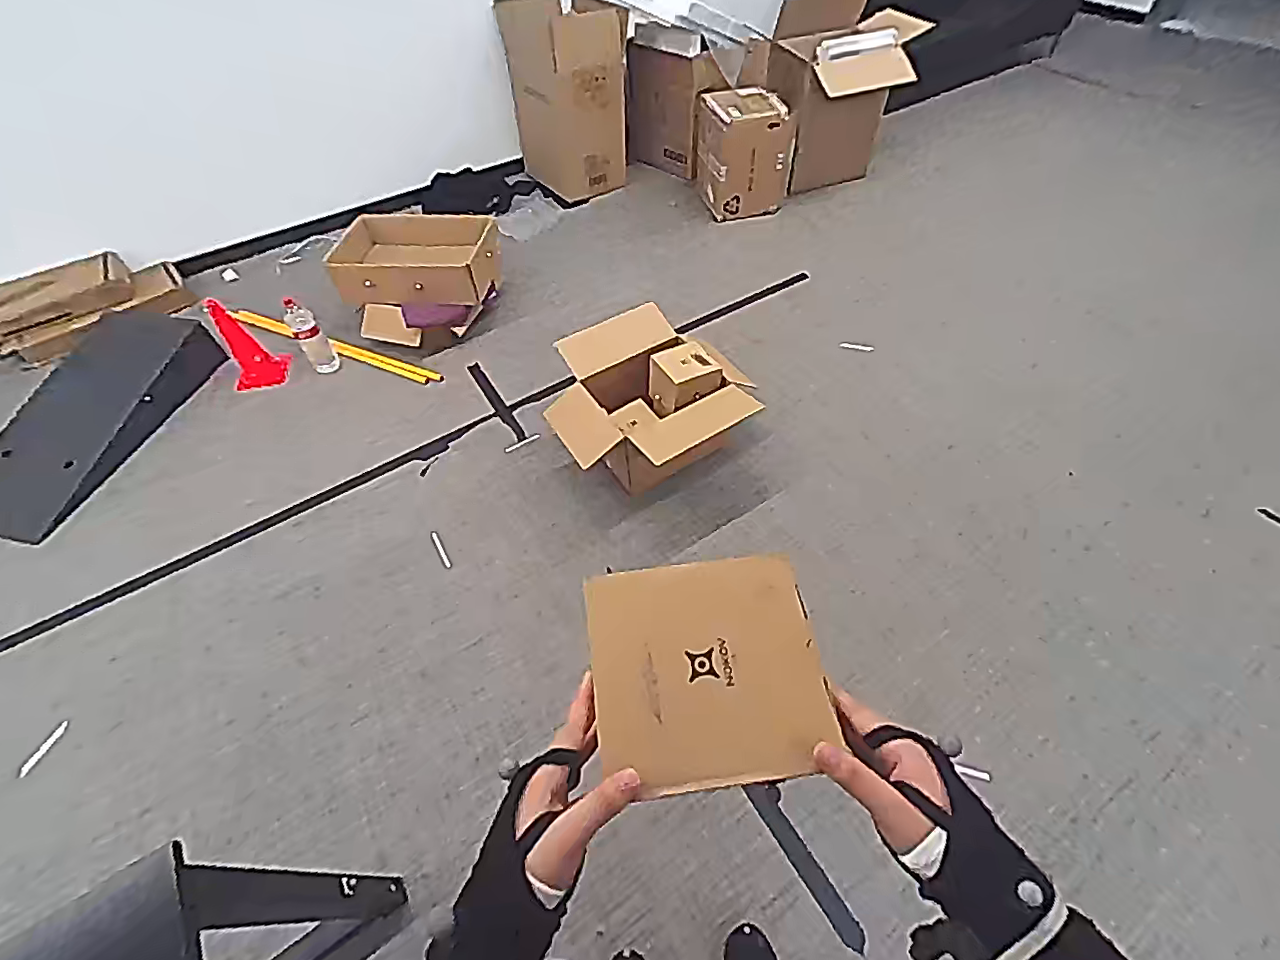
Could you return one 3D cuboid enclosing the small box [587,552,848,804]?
[{"bbox_3d":[0.052,0.181,0.482,0.179,0.176,0.168,-8,58,-3],"label":"small box"}]
